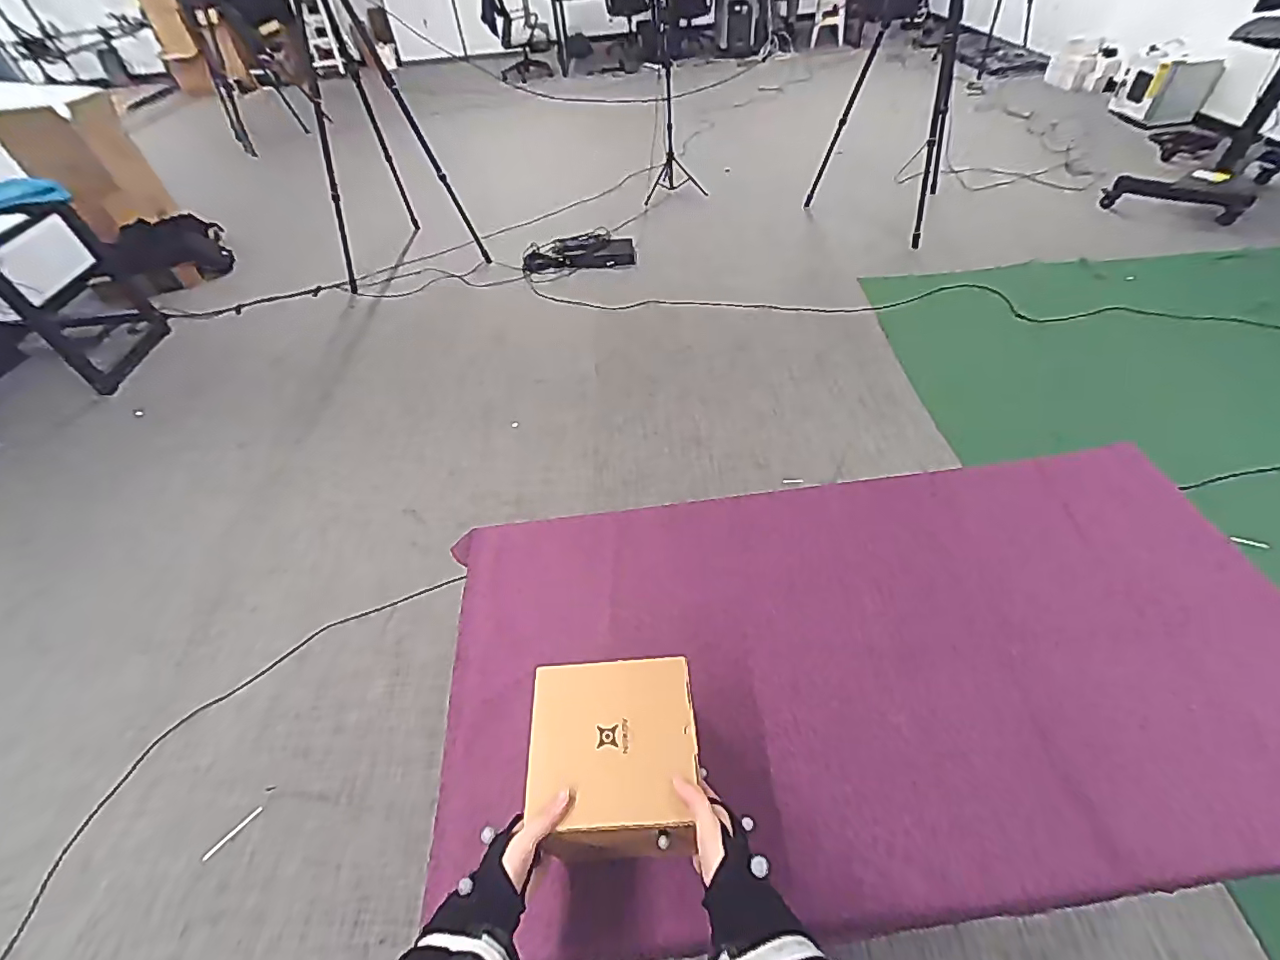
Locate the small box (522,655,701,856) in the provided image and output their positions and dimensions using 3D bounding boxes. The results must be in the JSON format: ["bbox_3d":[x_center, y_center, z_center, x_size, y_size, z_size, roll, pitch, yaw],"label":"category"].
[{"bbox_3d":[-0.024,0.324,0.630,0.179,0.176,0.168,-5,47,1],"label":"small box"}]
